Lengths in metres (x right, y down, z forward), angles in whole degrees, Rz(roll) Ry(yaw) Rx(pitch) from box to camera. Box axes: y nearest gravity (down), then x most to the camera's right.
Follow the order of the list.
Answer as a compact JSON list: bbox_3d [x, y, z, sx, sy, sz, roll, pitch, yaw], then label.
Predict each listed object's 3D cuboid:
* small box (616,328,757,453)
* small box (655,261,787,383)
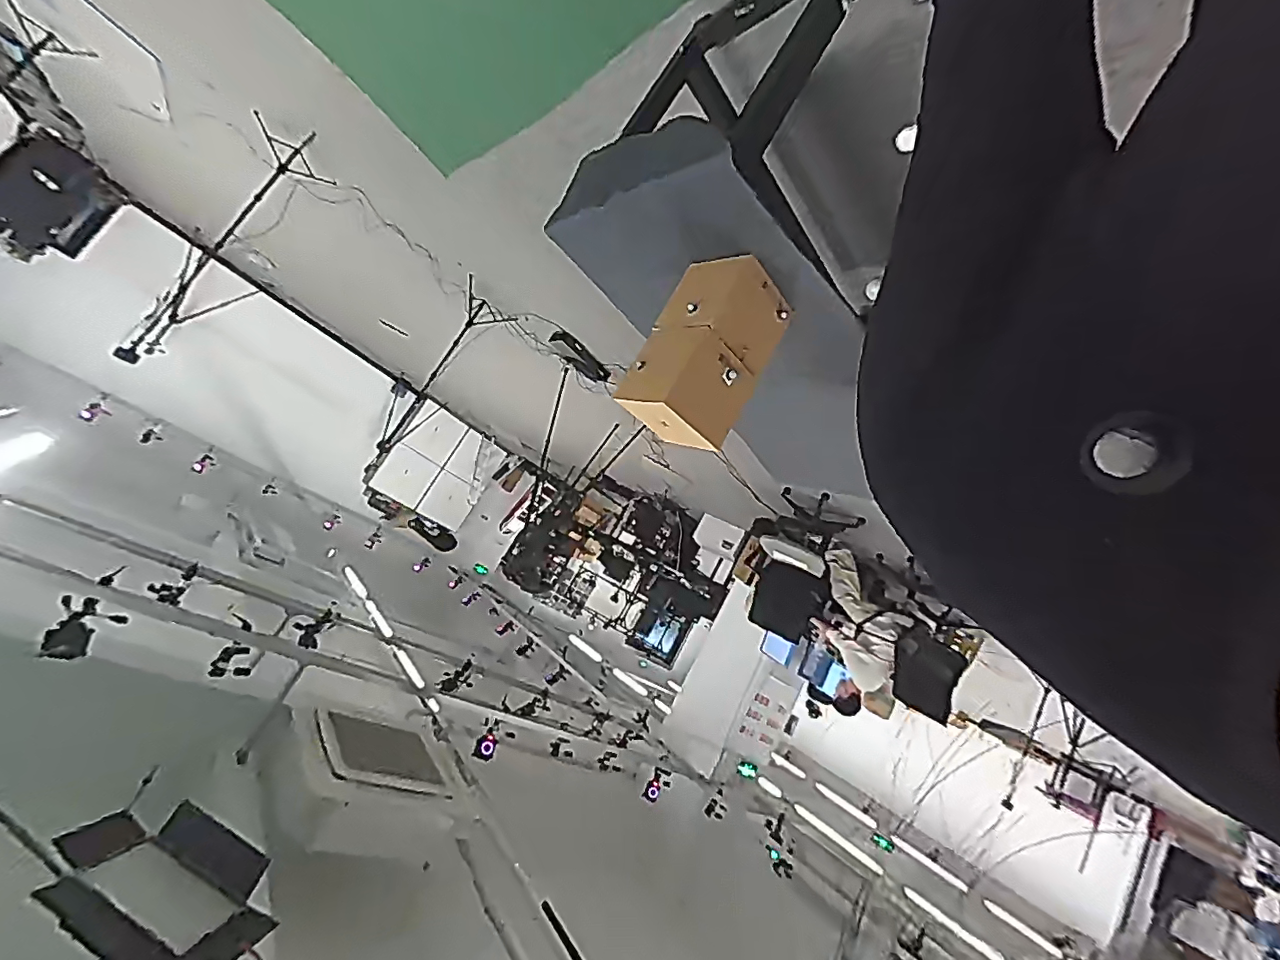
[{"bbox_3d":[0.091,-0.174,1.045,0.168,0.176,0.179,35,168,-34],"label":"small box"},{"bbox_3d":[0.169,-0.313,1.076,0.168,0.176,0.179,37,169,-37],"label":"small box"}]
